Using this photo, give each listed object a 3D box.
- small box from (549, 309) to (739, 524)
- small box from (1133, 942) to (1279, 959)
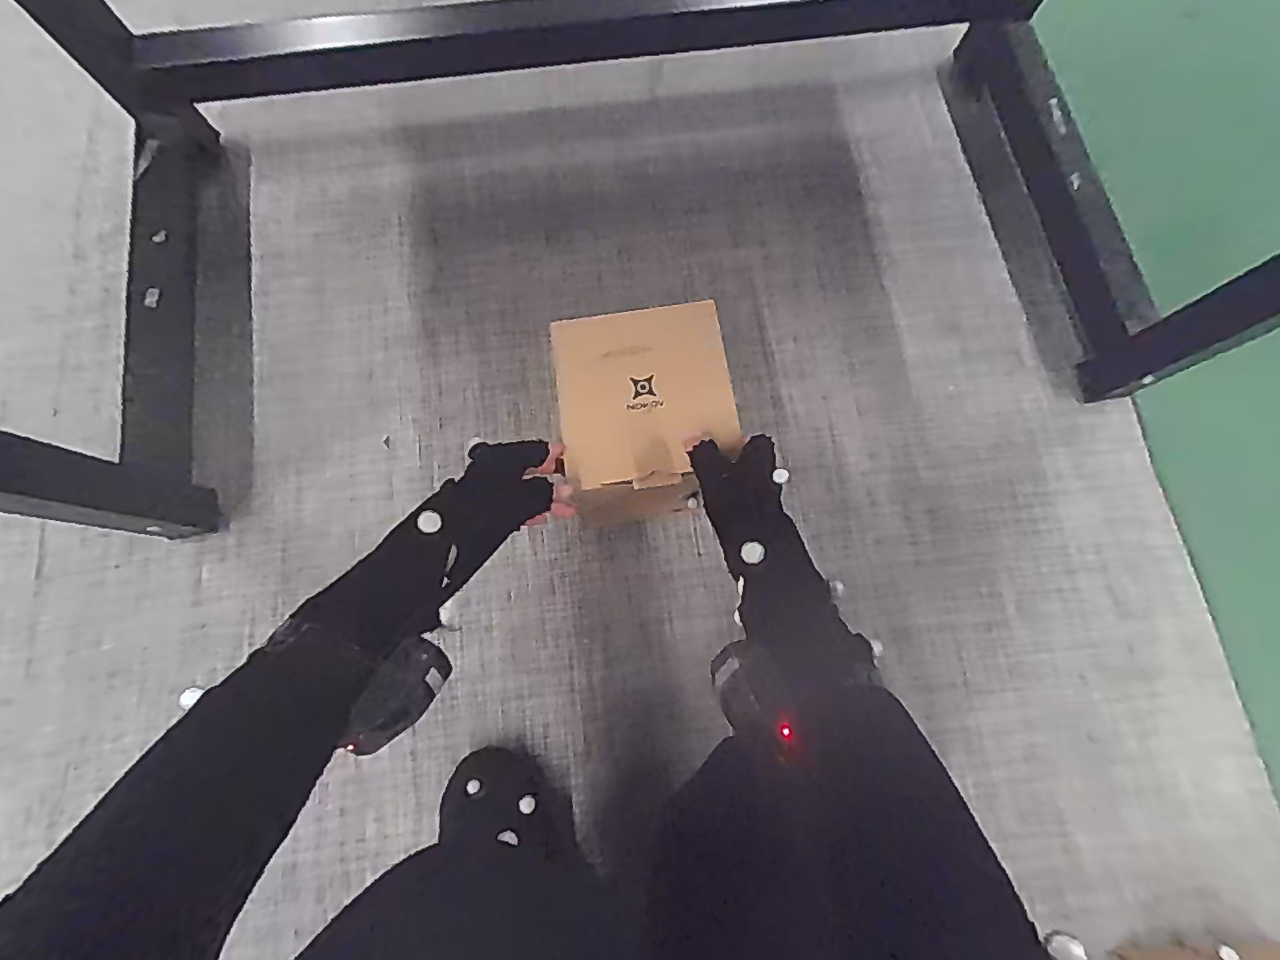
[{"bbox_3d":[0.004,-0.055,0.590,0.168,0.176,0.179,-8,72,-1],"label":"small box"},{"bbox_3d":[0.567,0.533,0.455,0.179,0.176,0.168,-3,76,-1],"label":"small box"}]
